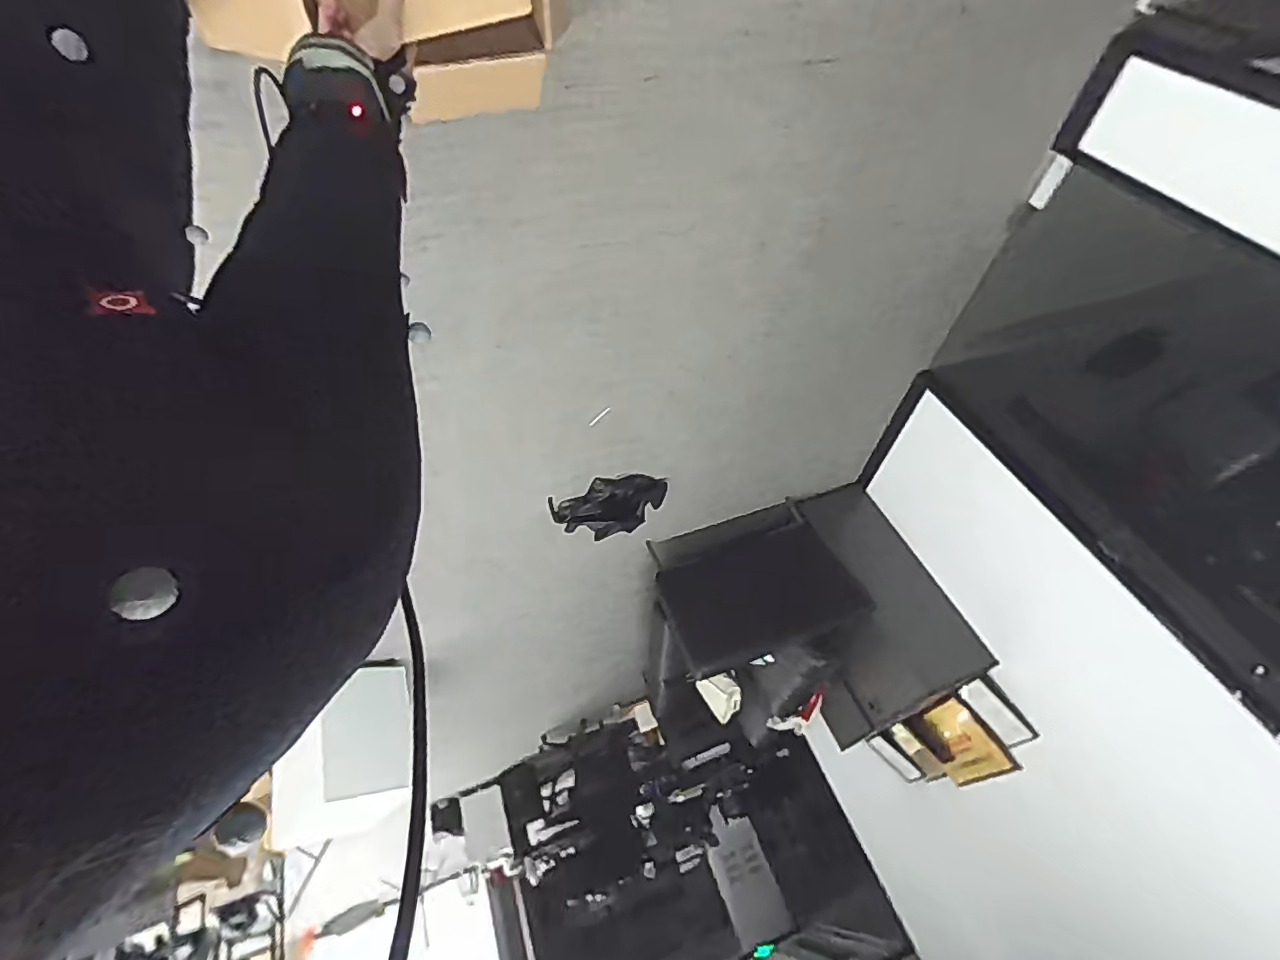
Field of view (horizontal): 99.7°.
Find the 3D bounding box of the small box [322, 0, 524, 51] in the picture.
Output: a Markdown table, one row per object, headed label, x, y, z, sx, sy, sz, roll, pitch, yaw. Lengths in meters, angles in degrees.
| label | x | y | z | sx | sy | sz | roll | pitch | yaw |
| --- | --- | --- | --- | --- | --- | --- | --- | --- | --- |
| small box | -0.220 | -0.516 | 0.460 | 0.168 | 0.176 | 0.179 | -30 | 155 | -19 |
